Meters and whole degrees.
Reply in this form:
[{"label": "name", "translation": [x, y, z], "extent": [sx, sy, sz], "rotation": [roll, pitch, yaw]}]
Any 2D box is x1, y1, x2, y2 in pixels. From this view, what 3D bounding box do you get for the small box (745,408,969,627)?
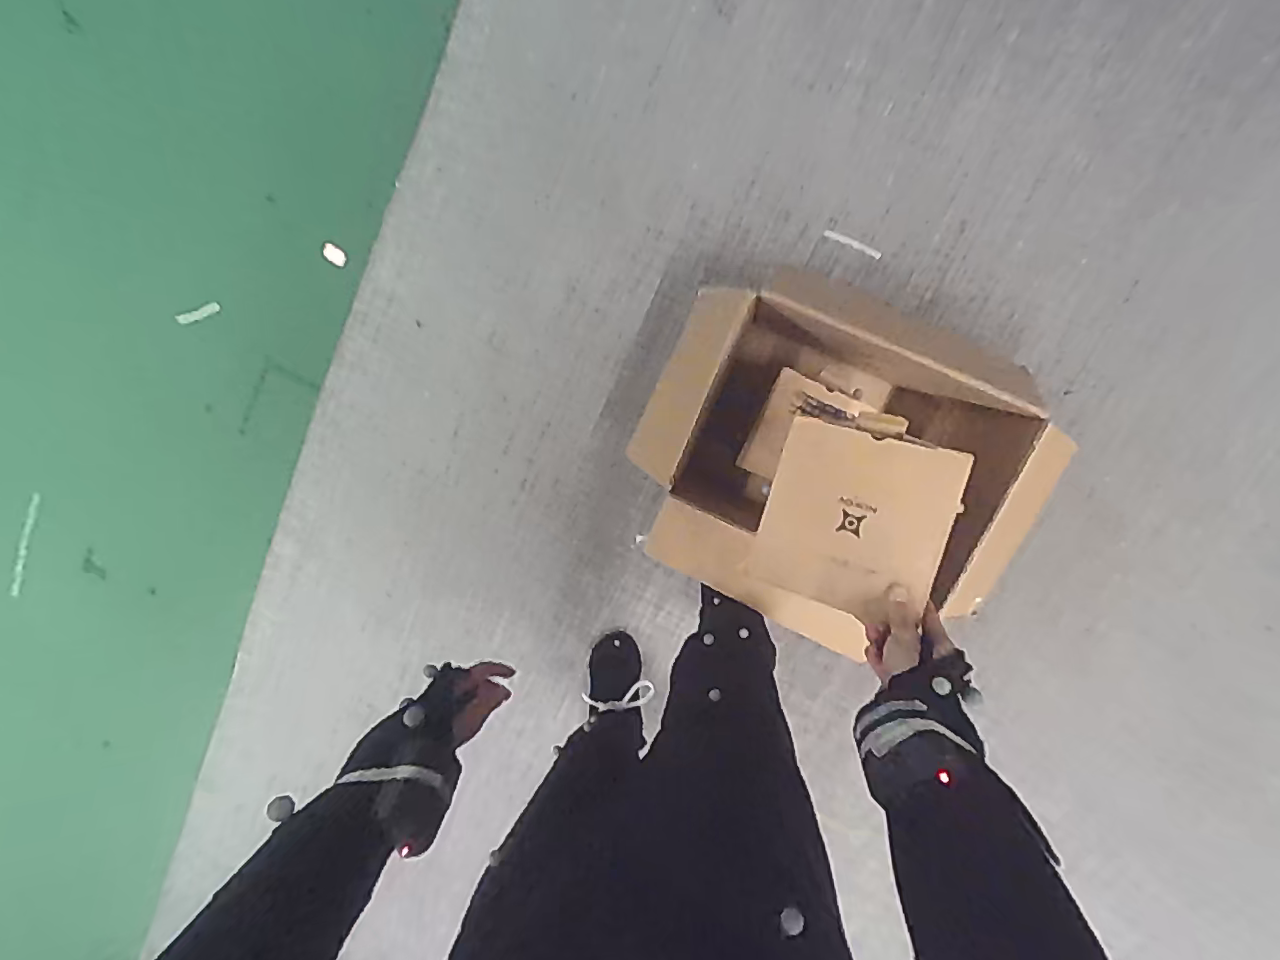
[{"label": "small box", "translation": [0.231, 0.037, 0.593], "extent": [0.168, 0.176, 0.179], "rotation": [17, 92, 23]}]
